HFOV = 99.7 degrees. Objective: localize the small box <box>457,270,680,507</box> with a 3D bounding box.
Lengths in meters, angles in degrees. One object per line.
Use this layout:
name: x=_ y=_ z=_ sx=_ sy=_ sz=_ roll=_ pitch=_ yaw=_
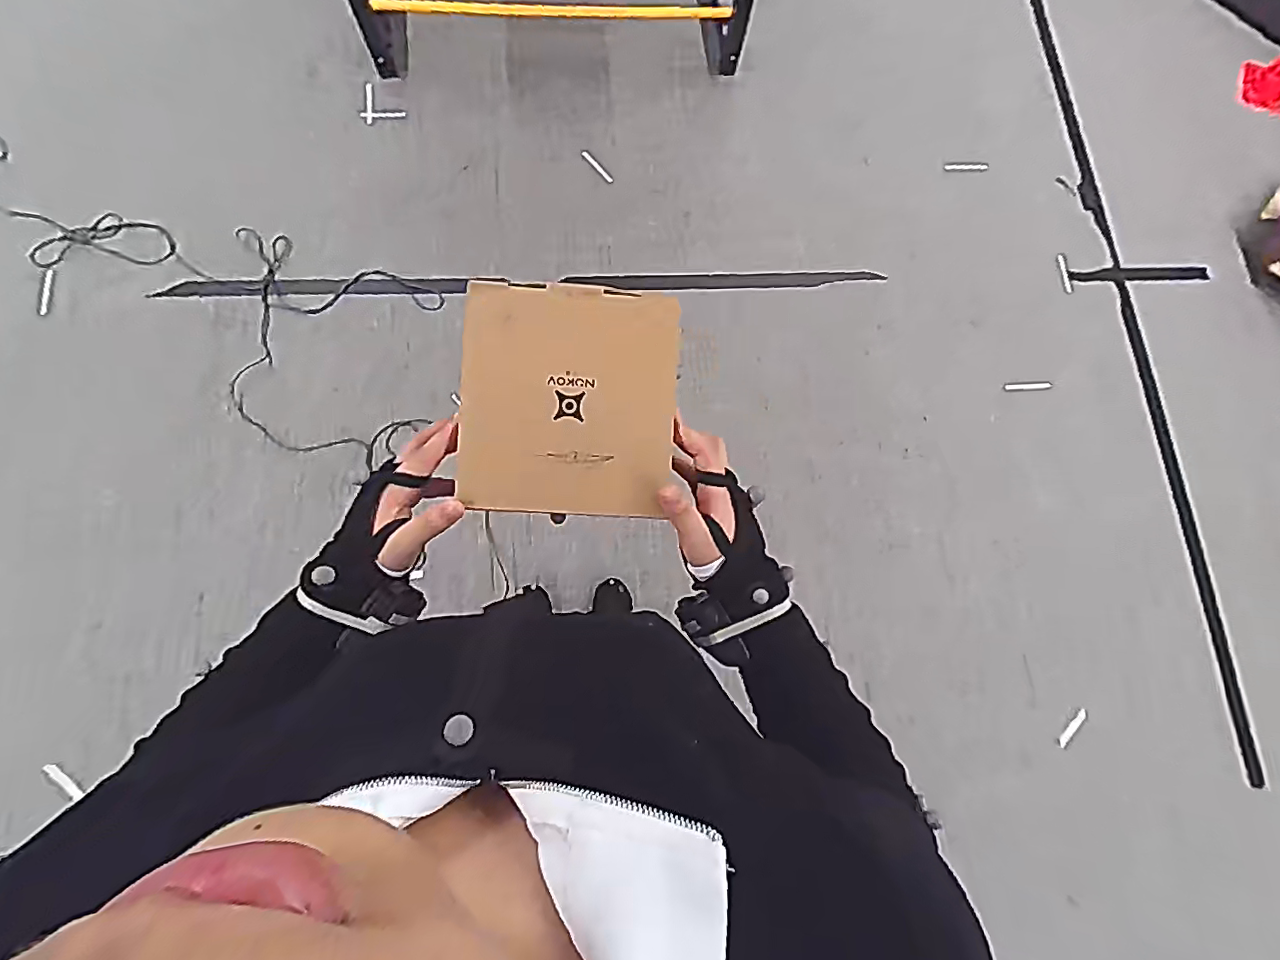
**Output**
small box: x=-0.060 y=-0.069 z=0.496 sx=0.168 sy=0.176 sz=0.179 roll=2 pitch=90 yaw=-4
